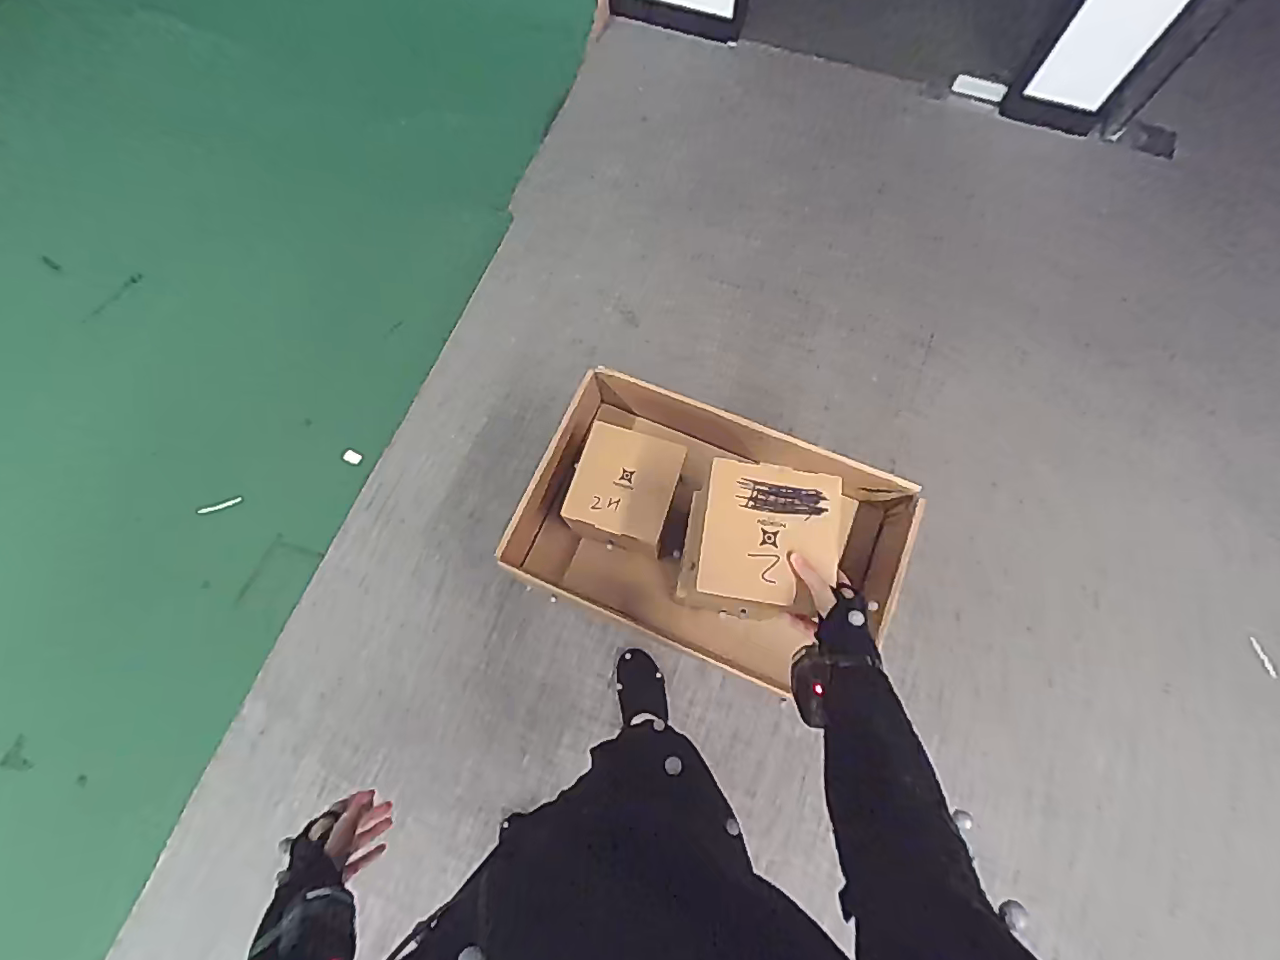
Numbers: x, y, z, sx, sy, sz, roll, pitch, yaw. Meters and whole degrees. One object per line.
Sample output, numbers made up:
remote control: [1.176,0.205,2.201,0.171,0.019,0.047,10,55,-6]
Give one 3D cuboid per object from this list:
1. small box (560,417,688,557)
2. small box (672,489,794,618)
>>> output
small box: [-0.024,0.019,0.950,0.168,0.176,0.179,18,75,7]
small box: [0.150,0.131,0.914,0.168,0.176,0.179,11,75,4]
